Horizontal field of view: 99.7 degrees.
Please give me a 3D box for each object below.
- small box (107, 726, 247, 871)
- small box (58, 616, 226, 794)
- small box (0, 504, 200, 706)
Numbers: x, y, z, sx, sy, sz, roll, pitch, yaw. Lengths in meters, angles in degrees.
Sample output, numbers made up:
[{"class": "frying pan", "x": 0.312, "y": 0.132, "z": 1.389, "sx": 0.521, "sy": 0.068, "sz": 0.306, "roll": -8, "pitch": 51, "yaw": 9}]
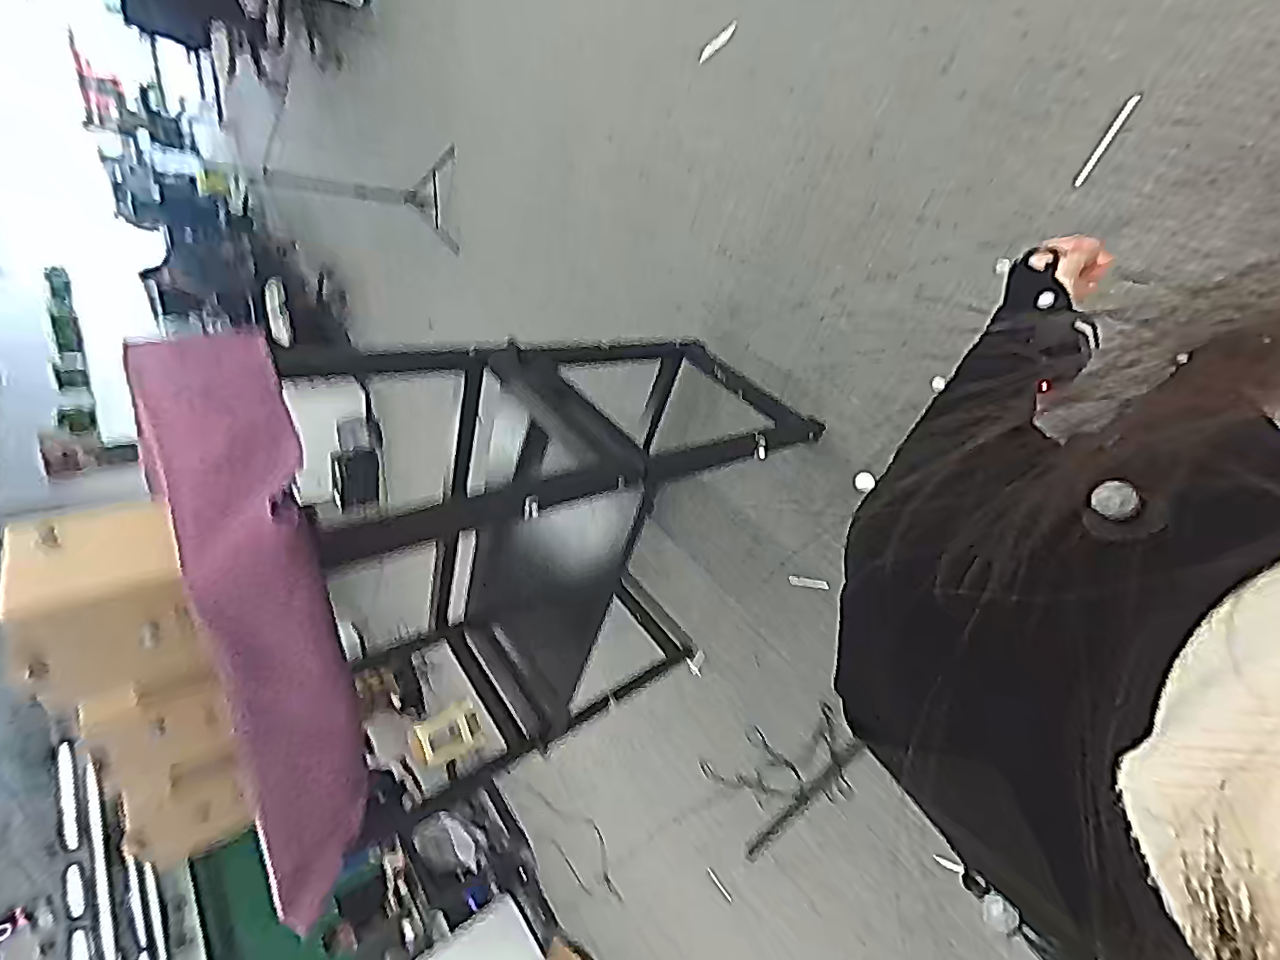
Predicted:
[{"class": "small box", "x": -0.857, "y": 0.560, "z": 1.009, "sx": 0.179, "sy": 0.176, "sz": 0.168, "roll": 34, "pitch": 125, "yaw": 37}, {"class": "small box", "x": -0.785, "y": 0.343, "z": 0.864, "sx": 0.179, "sy": 0.176, "sz": 0.168, "roll": 41, "pitch": 128, "yaw": 34}, {"class": "small box", "x": -0.703, "y": 0.147, "z": 0.707, "sx": 0.179, "sy": 0.176, "sz": 0.168, "roll": 38, "pitch": 128, "yaw": 36}]
